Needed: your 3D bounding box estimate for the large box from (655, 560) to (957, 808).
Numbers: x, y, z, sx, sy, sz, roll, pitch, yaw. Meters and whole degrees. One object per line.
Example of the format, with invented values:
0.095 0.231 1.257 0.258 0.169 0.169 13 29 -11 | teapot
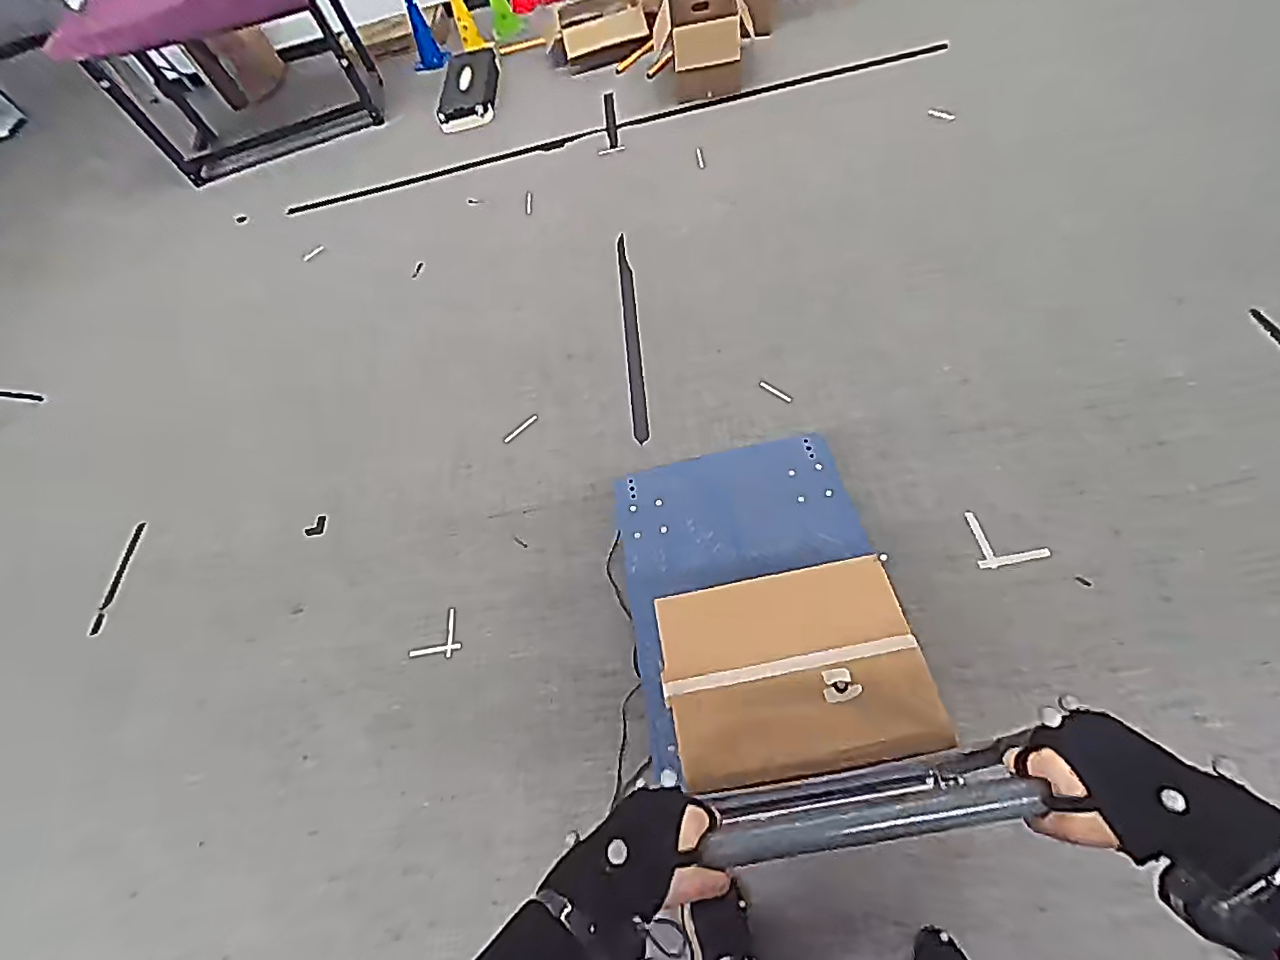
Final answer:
0.263 0.384 0.984 0.408 0.320 0.320 -12 57 4 | large box
